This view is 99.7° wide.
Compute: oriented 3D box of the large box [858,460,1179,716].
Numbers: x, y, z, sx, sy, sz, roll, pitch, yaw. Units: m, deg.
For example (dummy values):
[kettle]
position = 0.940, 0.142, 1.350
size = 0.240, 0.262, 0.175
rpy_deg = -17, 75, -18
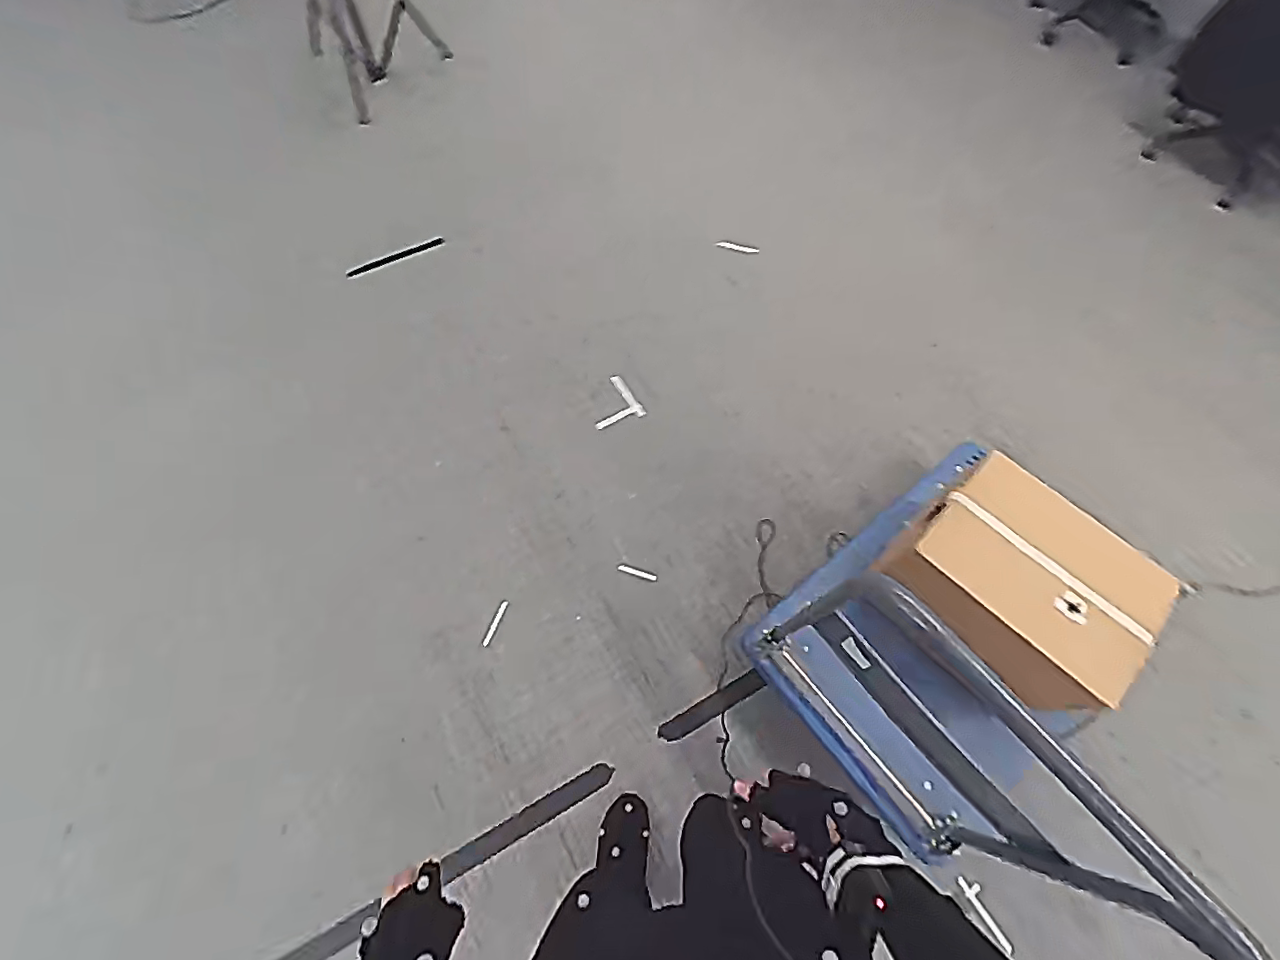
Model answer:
[large box]
position = 0.766, 0.238, 1.159
size = 0.320, 0.320, 0.408
rpy_deg = -41, 73, -18
